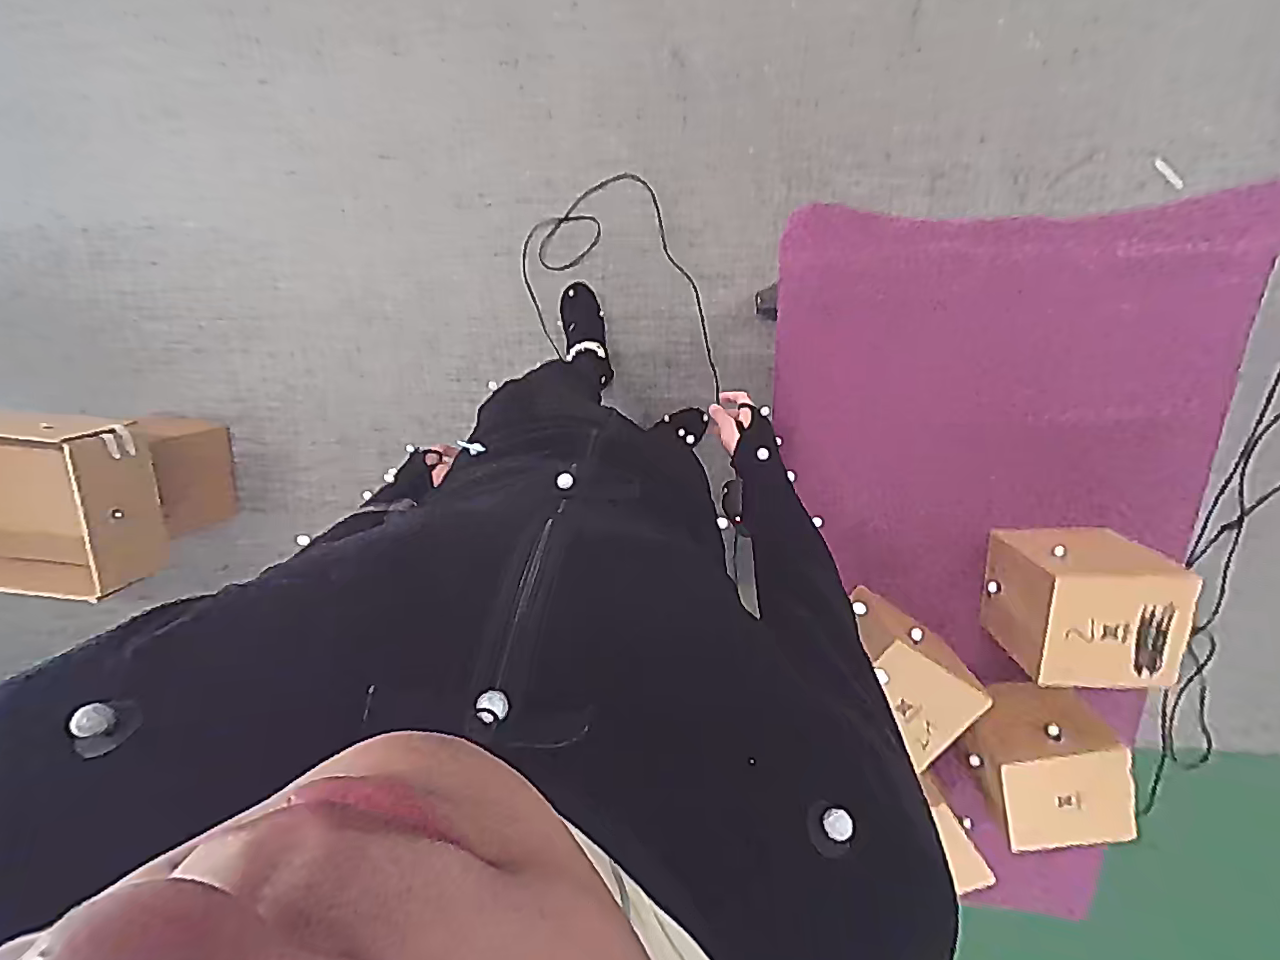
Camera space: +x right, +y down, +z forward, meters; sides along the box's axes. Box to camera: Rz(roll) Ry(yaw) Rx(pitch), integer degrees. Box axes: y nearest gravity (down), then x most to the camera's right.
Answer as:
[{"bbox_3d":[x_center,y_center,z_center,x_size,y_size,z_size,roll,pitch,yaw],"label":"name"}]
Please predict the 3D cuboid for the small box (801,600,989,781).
[{"bbox_3d":[0.382,0.315,0.849,0.179,0.176,0.168,33,105,-6],"label":"small box"}]

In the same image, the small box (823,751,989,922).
[{"bbox_3d":[0.440,0.585,0.921,0.168,0.176,0.179,-33,100,12],"label":"small box"}]

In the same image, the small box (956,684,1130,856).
[{"bbox_3d":[0.629,0.458,0.872,0.179,0.176,0.168,-14,104,9],"label":"small box"}]
